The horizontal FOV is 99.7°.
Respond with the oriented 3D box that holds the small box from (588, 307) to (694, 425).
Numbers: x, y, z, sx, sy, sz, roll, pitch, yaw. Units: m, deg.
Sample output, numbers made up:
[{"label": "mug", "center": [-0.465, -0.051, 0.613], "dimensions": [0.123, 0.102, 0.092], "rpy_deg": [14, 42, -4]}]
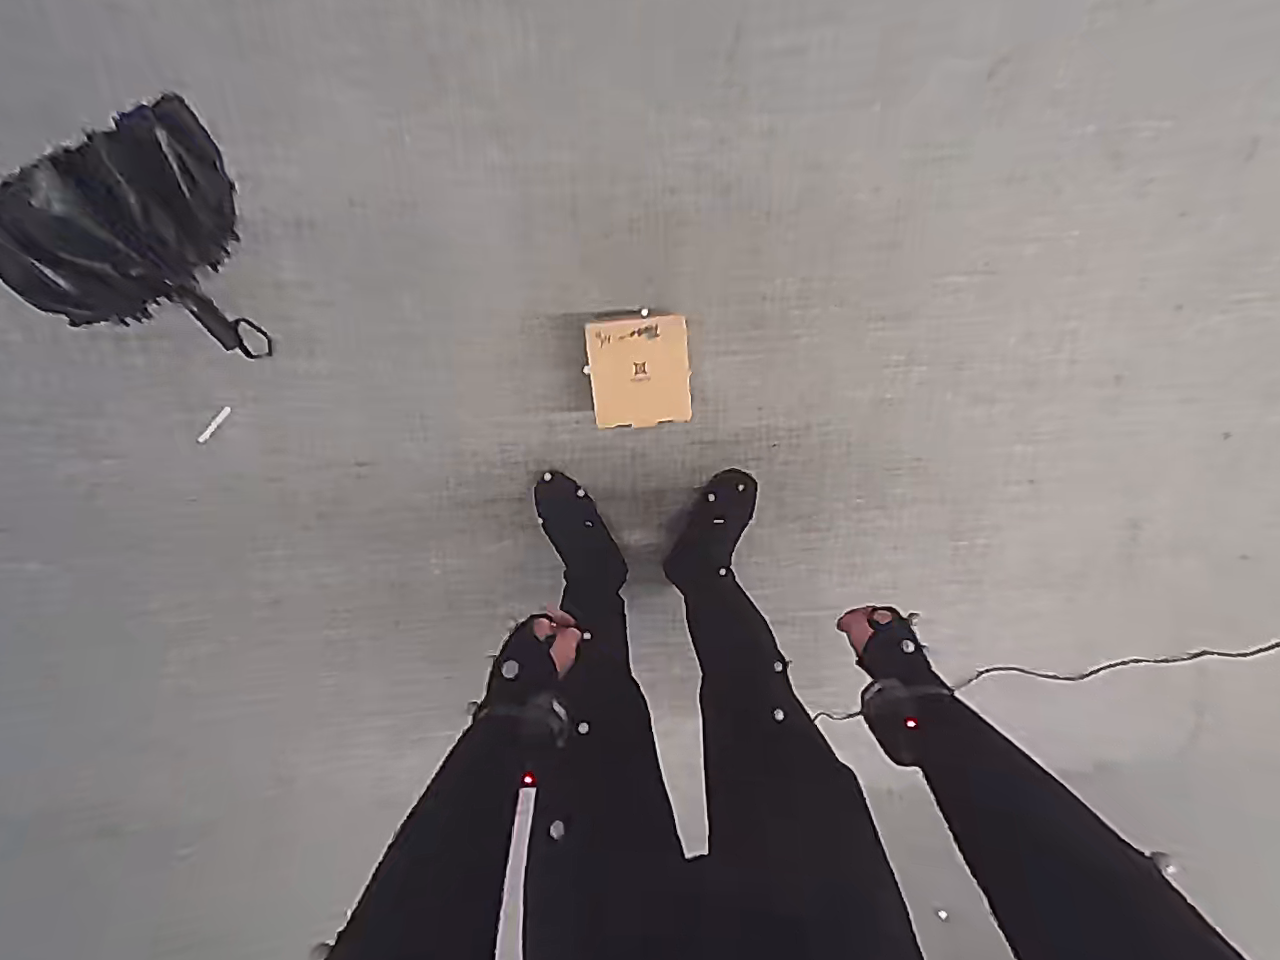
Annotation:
[{"label": "small box", "center": [0.001, -0.207, 0.957], "dimensions": [0.168, 0.176, 0.179], "rpy_deg": [-5, 110, -2]}]
